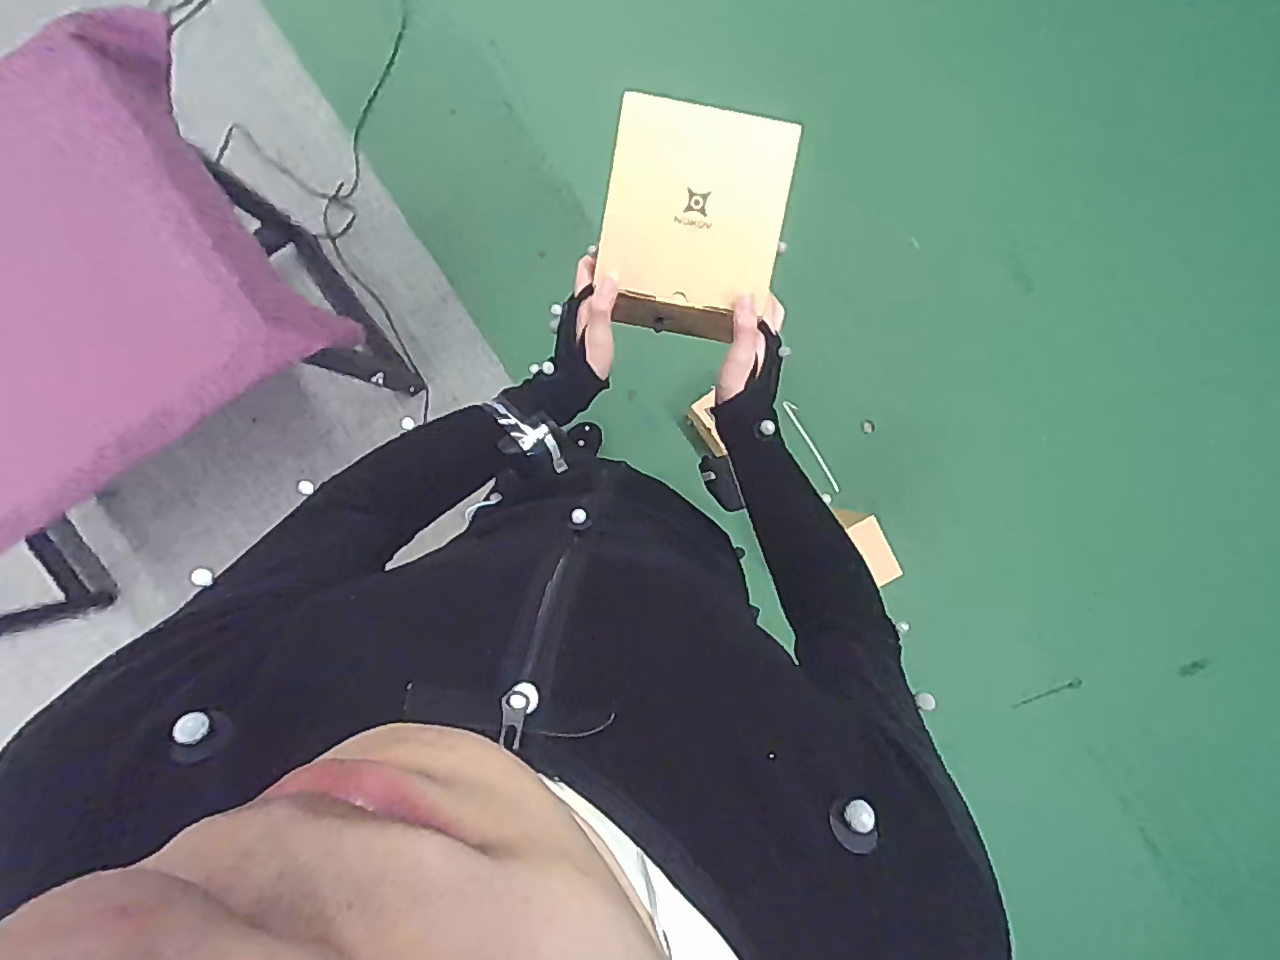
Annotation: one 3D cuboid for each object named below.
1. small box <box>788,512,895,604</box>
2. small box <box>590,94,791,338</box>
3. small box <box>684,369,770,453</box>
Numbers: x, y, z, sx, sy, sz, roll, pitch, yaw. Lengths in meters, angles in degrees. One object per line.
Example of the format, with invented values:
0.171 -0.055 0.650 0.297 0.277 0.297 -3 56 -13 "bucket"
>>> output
0.513 0.192 1.401 0.179 0.176 0.168 -27 92 -1 "small box"
0.043 -0.261 0.579 0.168 0.176 0.179 9 98 -3 "small box"
0.240 -0.188 1.552 0.179 0.176 0.168 -35 92 -1 "small box"
